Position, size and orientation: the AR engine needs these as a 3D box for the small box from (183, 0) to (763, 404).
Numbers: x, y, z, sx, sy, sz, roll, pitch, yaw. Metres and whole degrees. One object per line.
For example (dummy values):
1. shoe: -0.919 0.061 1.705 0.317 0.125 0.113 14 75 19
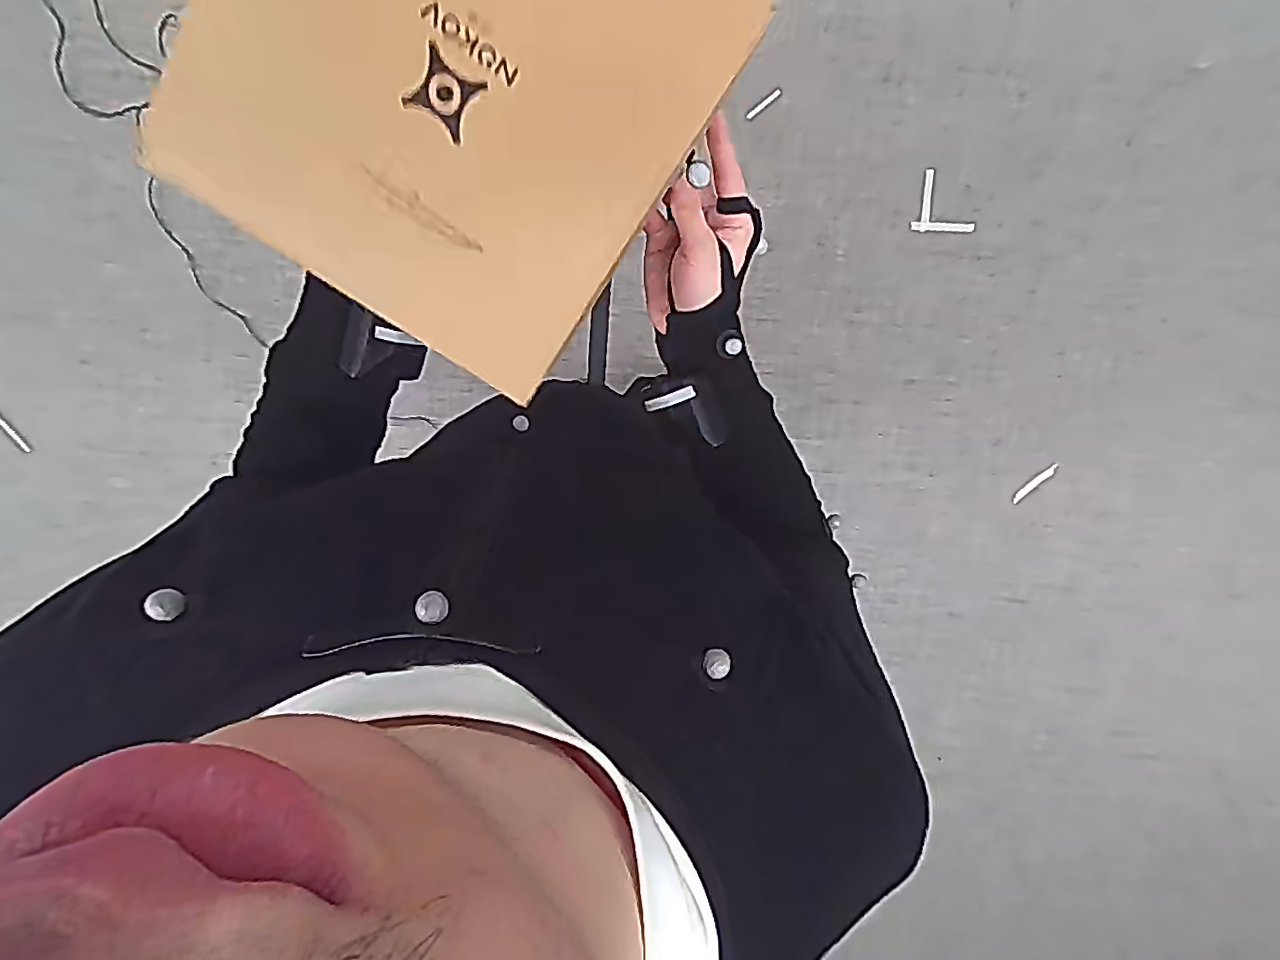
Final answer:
1. small box: -0.069 -0.172 0.281 0.168 0.176 0.179 32 108 -13
